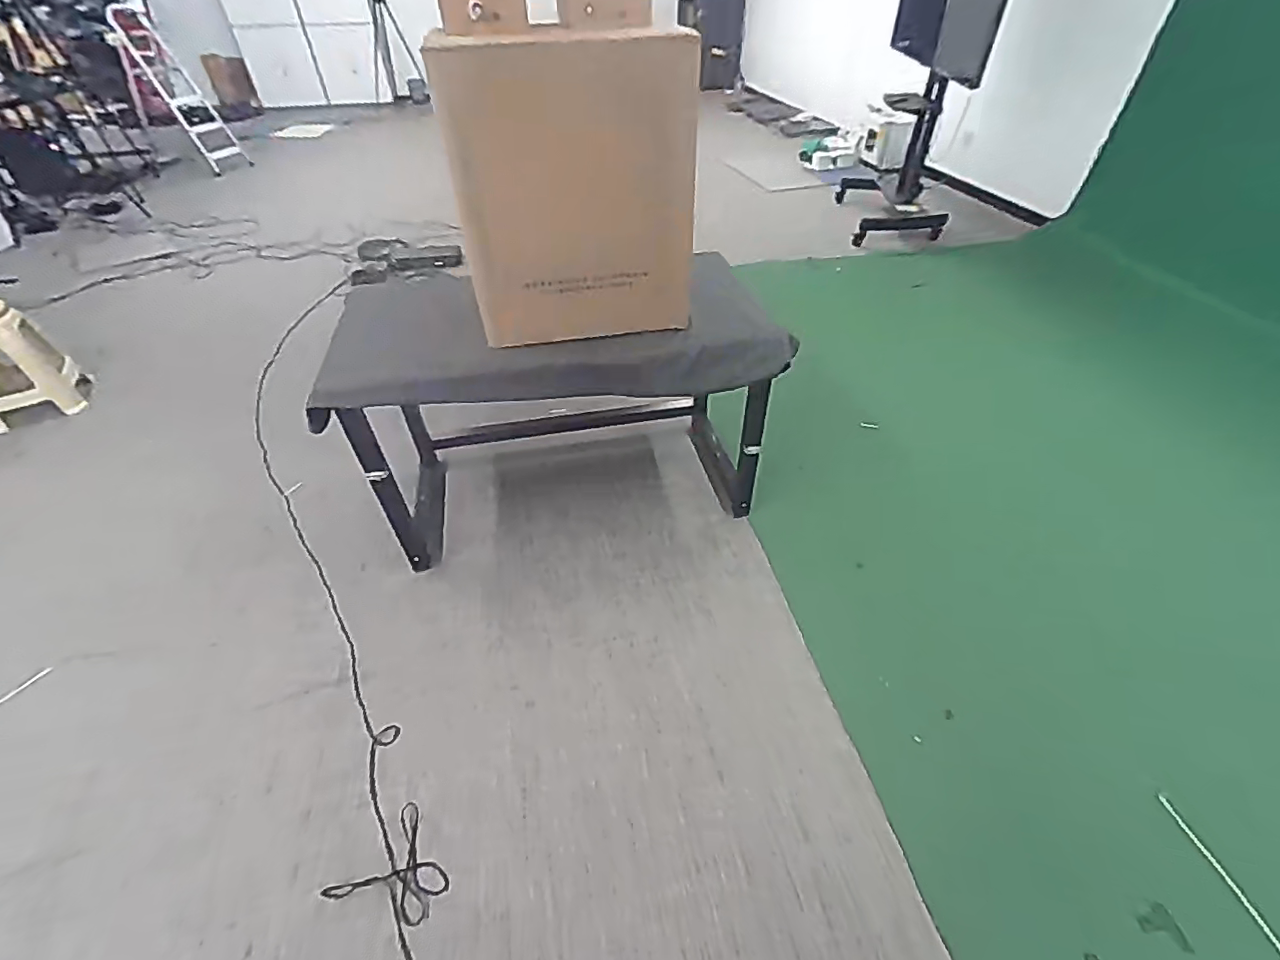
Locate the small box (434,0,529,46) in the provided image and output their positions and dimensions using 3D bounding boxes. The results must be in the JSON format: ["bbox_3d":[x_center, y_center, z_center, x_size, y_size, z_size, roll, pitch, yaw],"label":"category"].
[{"bbox_3d":[-0.317,-0.964,1.050,0.168,0.176,0.179,-12,47,-7],"label":"small box"}]

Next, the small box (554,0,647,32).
[{"bbox_3d":[-0.086,-1.020,1.092,0.168,0.176,0.179,-13,45,-11],"label":"small box"}]
